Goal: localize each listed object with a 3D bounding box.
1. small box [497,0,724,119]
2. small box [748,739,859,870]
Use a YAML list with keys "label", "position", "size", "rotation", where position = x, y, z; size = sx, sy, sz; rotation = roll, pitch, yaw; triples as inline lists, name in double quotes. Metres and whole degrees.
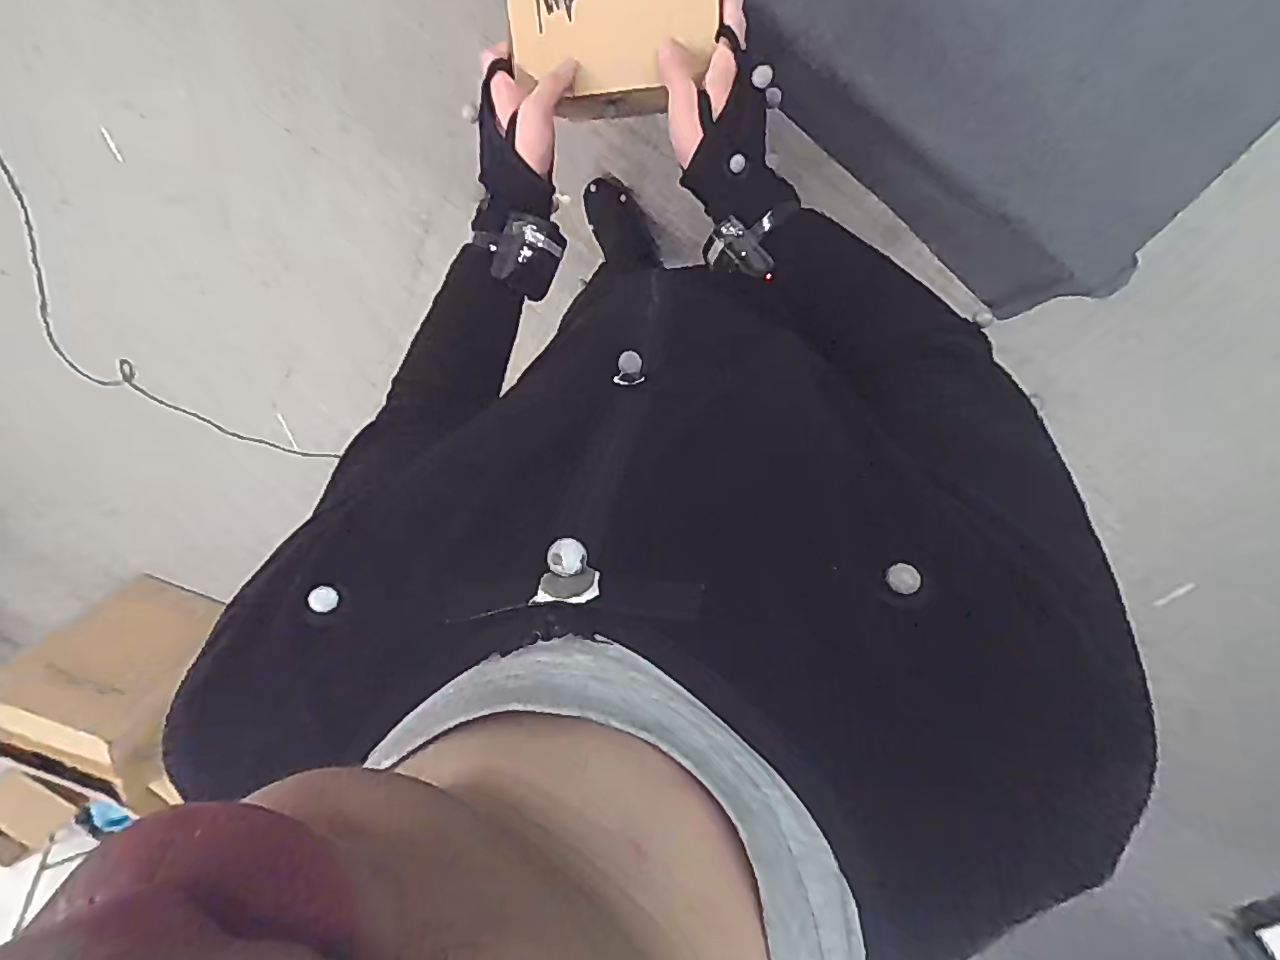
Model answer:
- label: "small box"
  position: [-0.017, -0.432, 0.479]
  size: [0.179, 0.176, 0.168]
  rotation: [1, 118, 10]
- label: "small box"
  position: [0.365, 0.736, 1.234]
  size: [0.168, 0.176, 0.179]
  rotation: [35, 117, -9]
